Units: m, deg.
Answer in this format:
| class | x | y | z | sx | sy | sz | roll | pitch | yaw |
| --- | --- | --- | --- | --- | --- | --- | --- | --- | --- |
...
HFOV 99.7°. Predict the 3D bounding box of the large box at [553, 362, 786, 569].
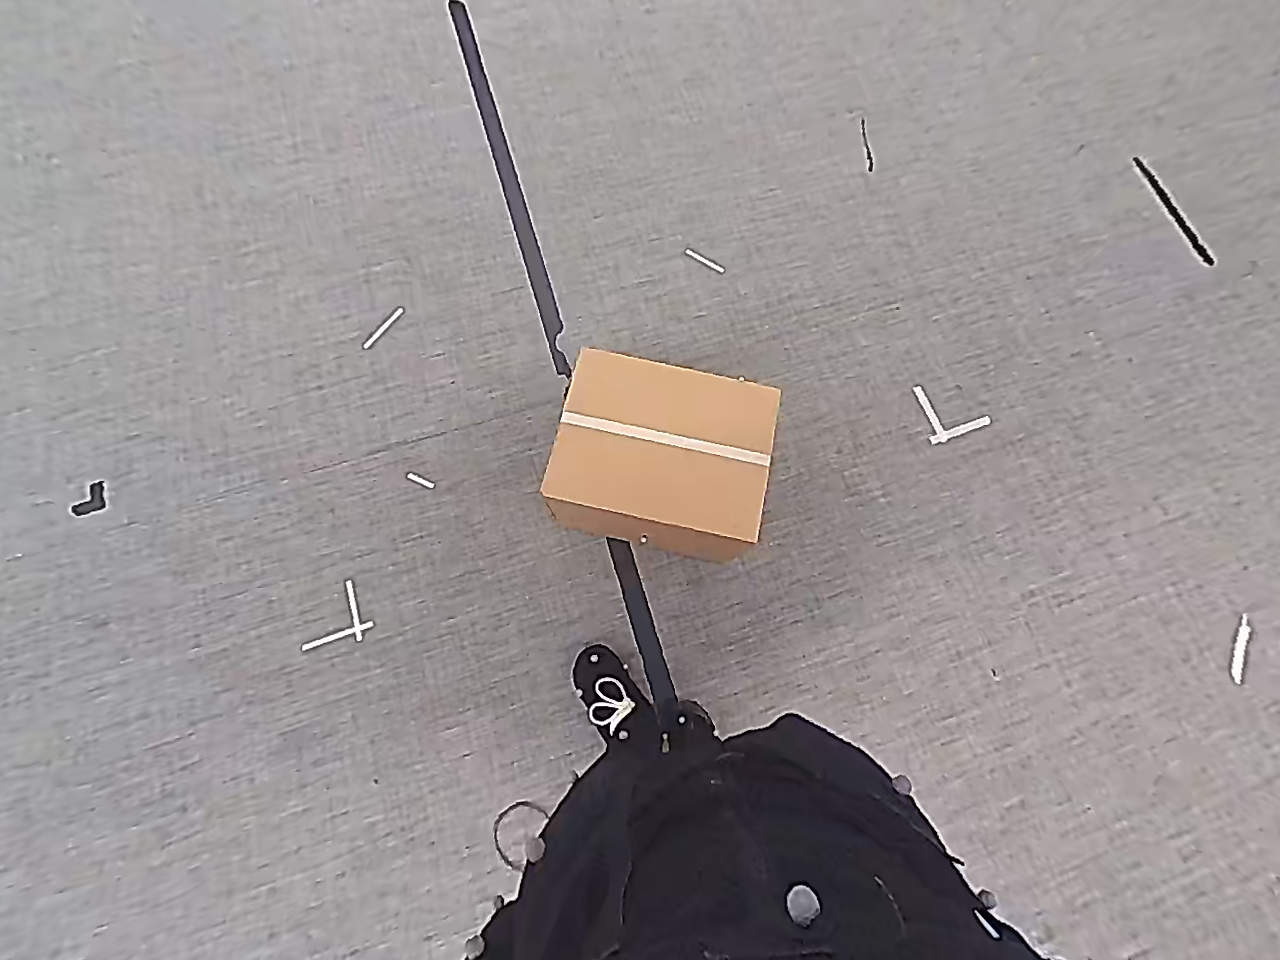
| class | x | y | z | sx | sy | sz | roll | pitch | yaw |
| --- | --- | --- | --- | --- | --- | --- | --- | --- | --- |
| large box | 0.058 | -0.014 | 1.165 | 0.408 | 0.320 | 0.320 | 12 | 75 | 2 |
